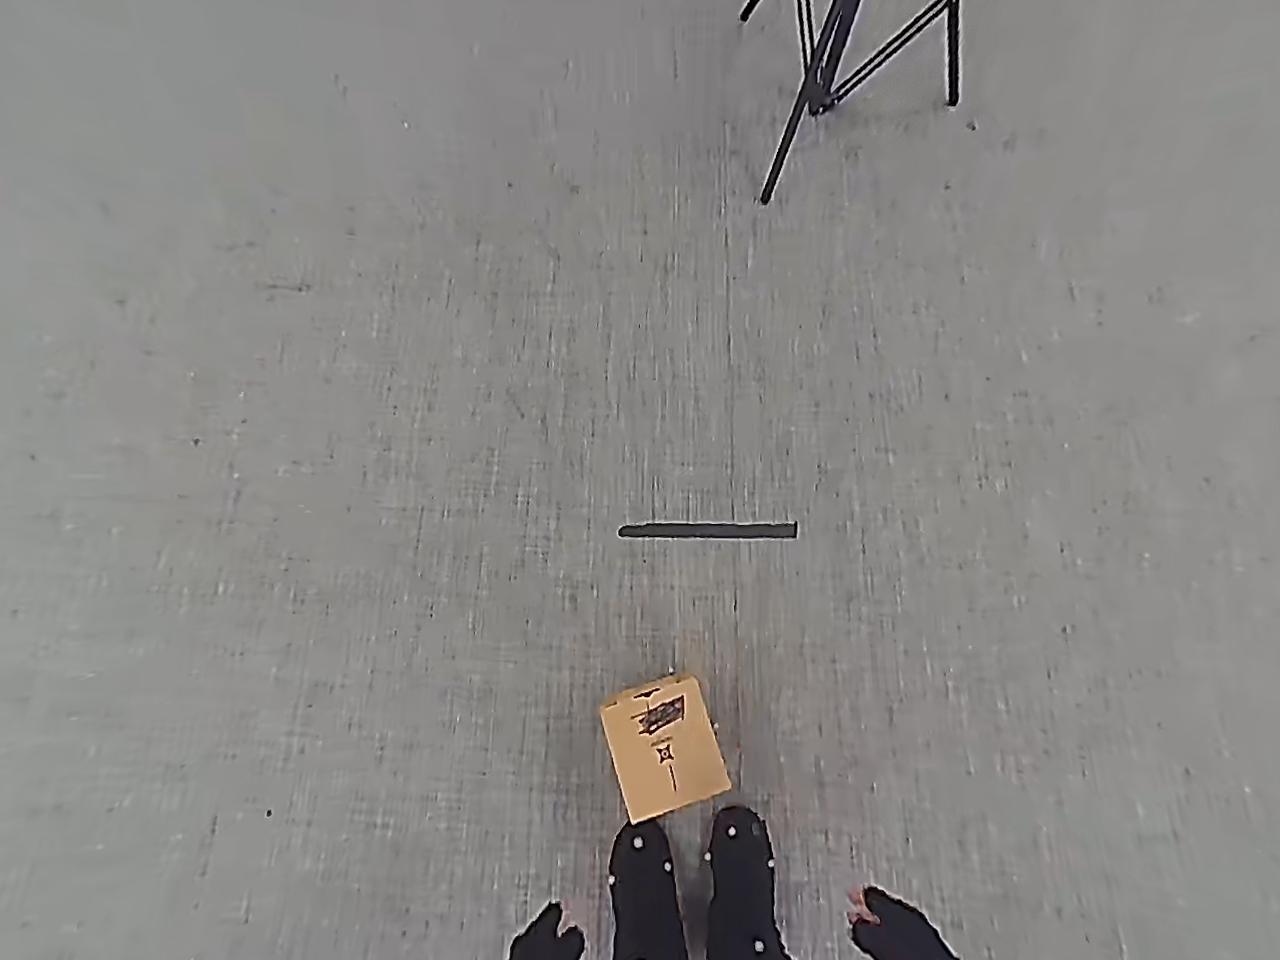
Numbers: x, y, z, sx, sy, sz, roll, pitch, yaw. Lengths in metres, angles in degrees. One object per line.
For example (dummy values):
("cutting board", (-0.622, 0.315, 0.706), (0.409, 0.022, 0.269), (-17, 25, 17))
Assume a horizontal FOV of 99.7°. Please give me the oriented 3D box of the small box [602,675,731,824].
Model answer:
("small box", (0.039, 0.442, 0.922), (0.168, 0.176, 0.179), (-17, 75, -4))
